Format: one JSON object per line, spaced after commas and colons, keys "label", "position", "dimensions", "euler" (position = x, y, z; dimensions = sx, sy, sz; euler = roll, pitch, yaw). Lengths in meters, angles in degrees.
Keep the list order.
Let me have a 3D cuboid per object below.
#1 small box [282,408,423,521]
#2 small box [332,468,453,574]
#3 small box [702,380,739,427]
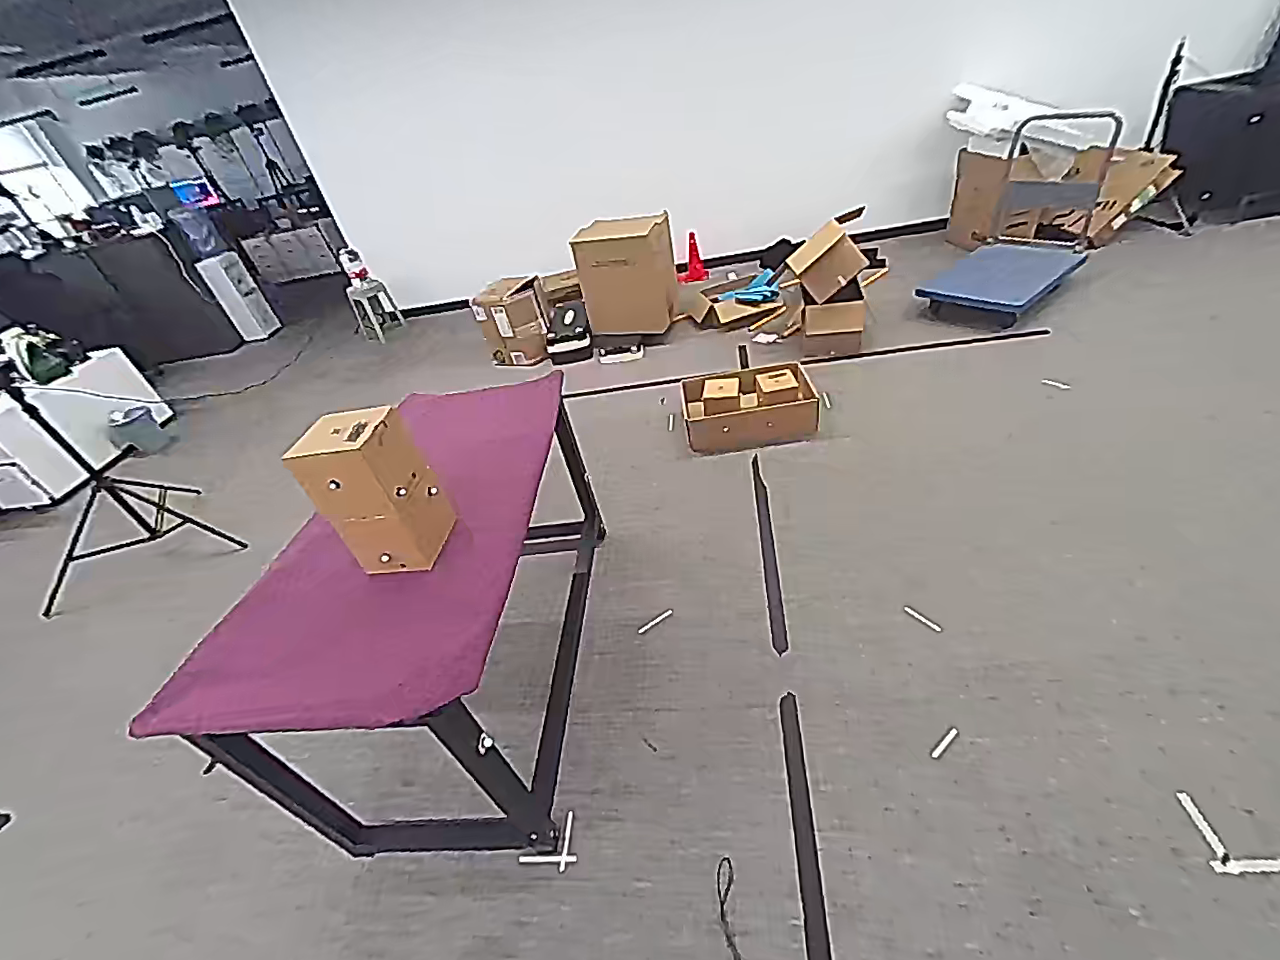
{"label": "small box", "position": [-0.596, -0.031, 1.151], "dimensions": [0.179, 0.176, 0.168], "euler": [-7, 37, 10]}
{"label": "small box", "position": [-0.558, 0.096, 1.249], "dimensions": [0.168, 0.176, 0.179], "euler": [-6, 38, 11]}
{"label": "small box", "position": [0.403, -0.380, 2.675], "dimensions": [0.168, 0.176, 0.179], "euler": [-1, 39, 14]}
